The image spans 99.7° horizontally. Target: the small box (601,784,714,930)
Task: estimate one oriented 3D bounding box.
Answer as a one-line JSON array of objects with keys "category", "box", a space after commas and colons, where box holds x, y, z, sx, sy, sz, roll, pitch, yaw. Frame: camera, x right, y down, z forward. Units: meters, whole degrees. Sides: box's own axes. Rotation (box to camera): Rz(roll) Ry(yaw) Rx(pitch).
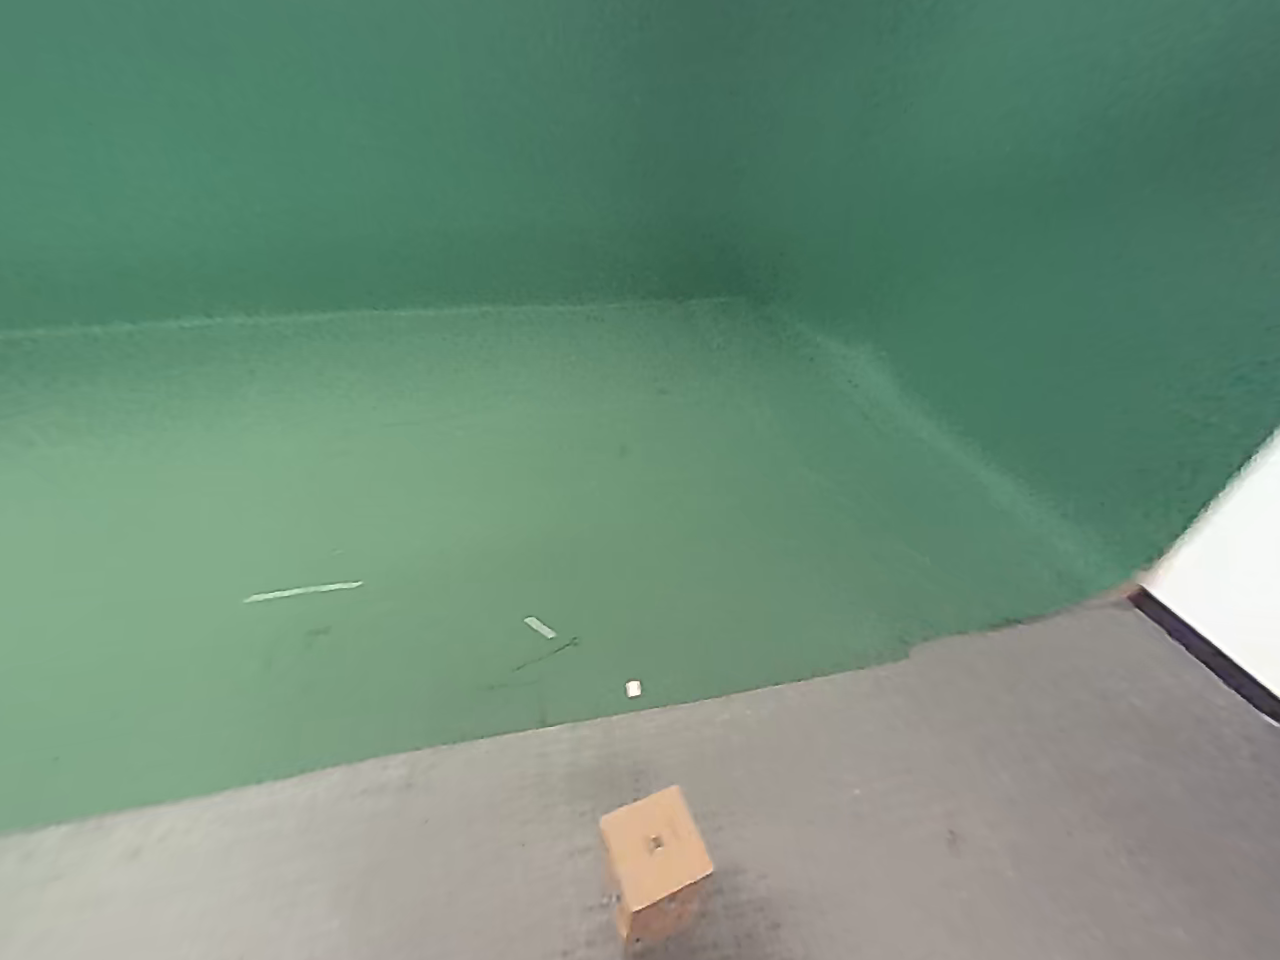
[{"category": "small box", "box": [0.030, 0.756, 1.085, 0.179, 0.176, 0.168, -12, 42, -18]}]
